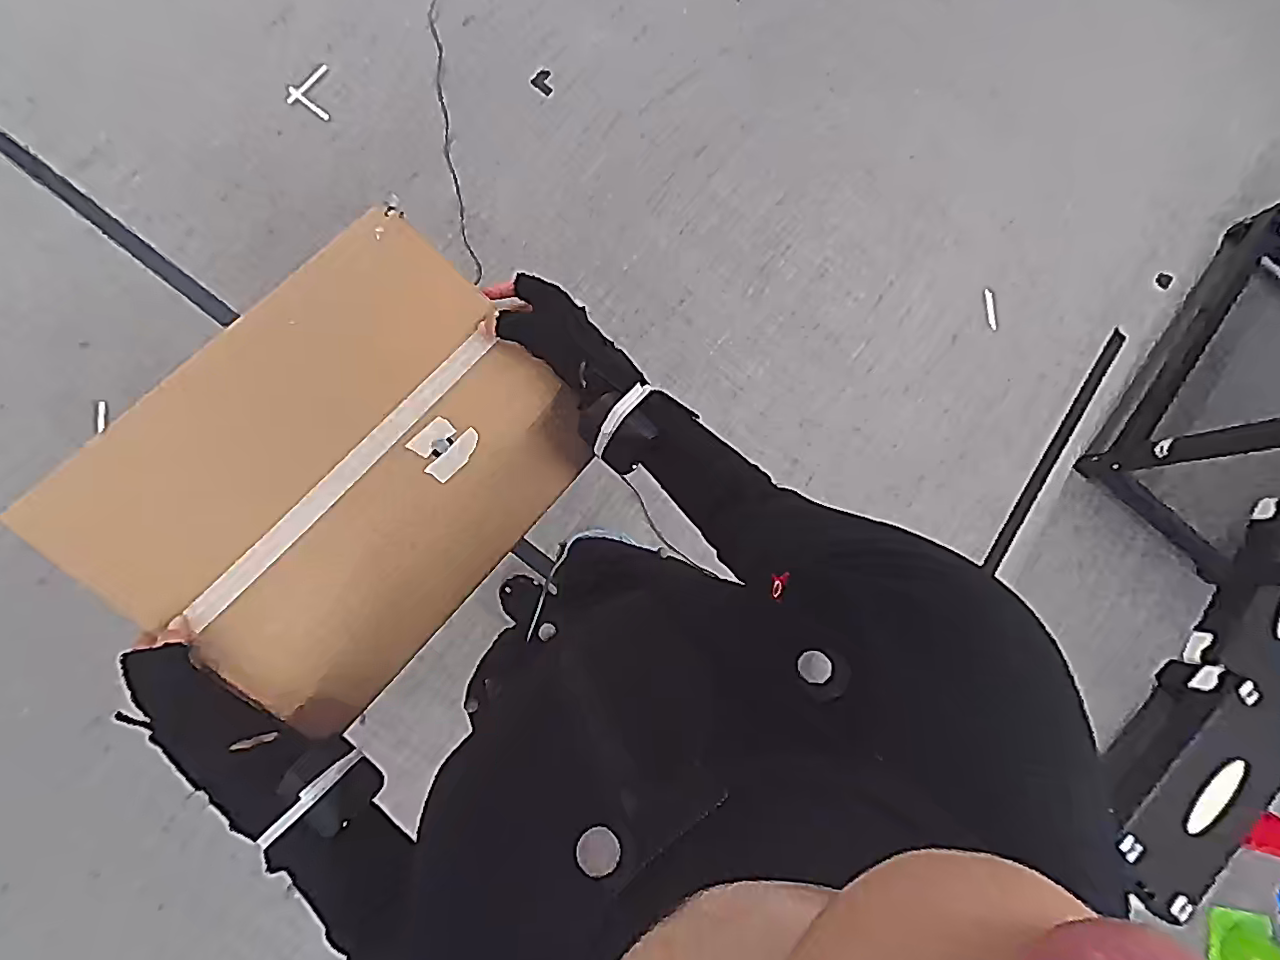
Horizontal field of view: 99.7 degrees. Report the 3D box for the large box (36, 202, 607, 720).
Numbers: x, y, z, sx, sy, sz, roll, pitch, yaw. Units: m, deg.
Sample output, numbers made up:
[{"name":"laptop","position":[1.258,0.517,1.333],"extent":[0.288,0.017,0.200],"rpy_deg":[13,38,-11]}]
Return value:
[{"name":"large box","position":[-0.306,-0.017,0.652],"extent":[0.320,0.320,0.408],"rpy_deg":[44,77,-11]}]
